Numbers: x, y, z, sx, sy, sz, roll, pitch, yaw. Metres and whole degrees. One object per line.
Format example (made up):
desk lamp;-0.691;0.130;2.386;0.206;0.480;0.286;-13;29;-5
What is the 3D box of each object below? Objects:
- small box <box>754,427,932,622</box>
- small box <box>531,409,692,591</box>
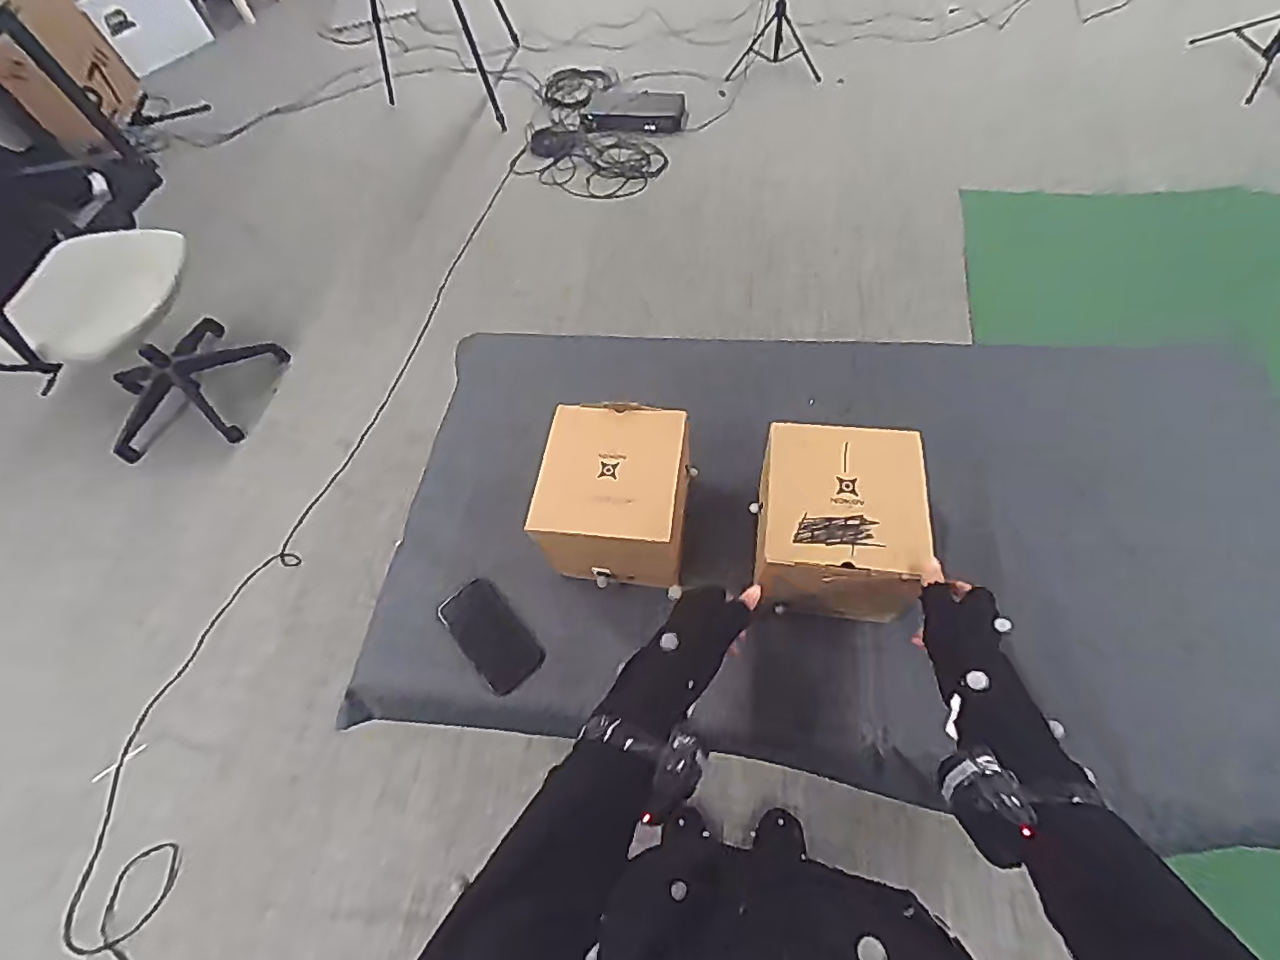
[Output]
small box;0.230;0.059;0.649;0.168;0.176;0.179;5;60;10
small box;-0.023;0.029;0.700;0.168;0.176;0.179;3;62;10
